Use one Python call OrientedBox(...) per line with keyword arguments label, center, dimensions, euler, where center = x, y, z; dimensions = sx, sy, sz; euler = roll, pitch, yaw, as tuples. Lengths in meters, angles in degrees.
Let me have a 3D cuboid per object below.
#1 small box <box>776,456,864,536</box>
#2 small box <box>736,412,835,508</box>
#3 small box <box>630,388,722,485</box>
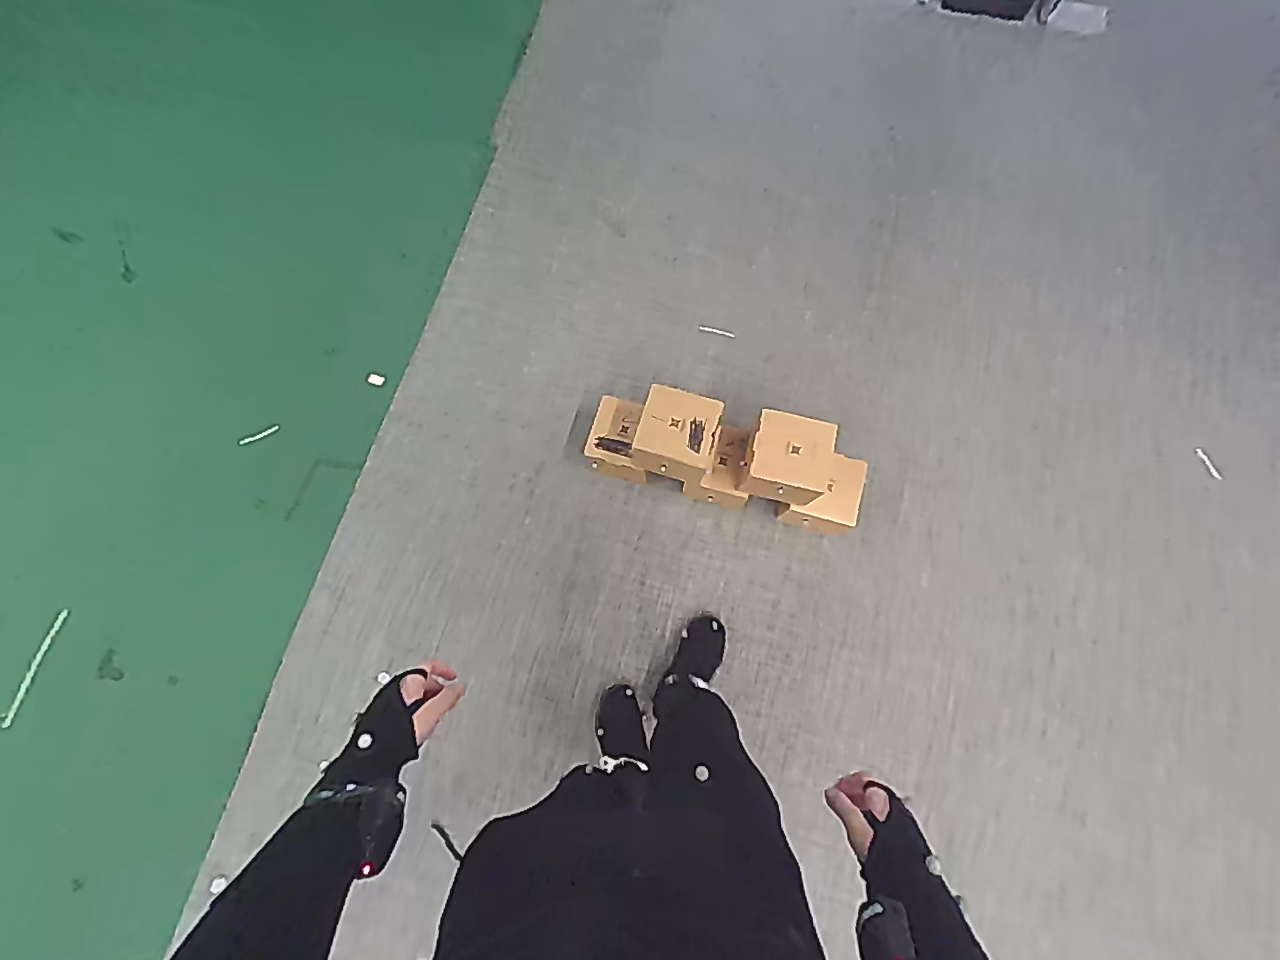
OrientedBox(label="small box", center=(0.470, 0.041, 1.434), dimensions=(0.168, 0.176, 0.179), euler=(15, 76, 5))
OrientedBox(label="small box", center=(0.338, -0.040, 1.288), dimensions=(0.179, 0.176, 0.168), euler=(14, 77, 3))
OrientedBox(label="small box", center=(0.085, -0.096, 1.307), dimensions=(0.179, 0.176, 0.168), euler=(16, 76, 6))
